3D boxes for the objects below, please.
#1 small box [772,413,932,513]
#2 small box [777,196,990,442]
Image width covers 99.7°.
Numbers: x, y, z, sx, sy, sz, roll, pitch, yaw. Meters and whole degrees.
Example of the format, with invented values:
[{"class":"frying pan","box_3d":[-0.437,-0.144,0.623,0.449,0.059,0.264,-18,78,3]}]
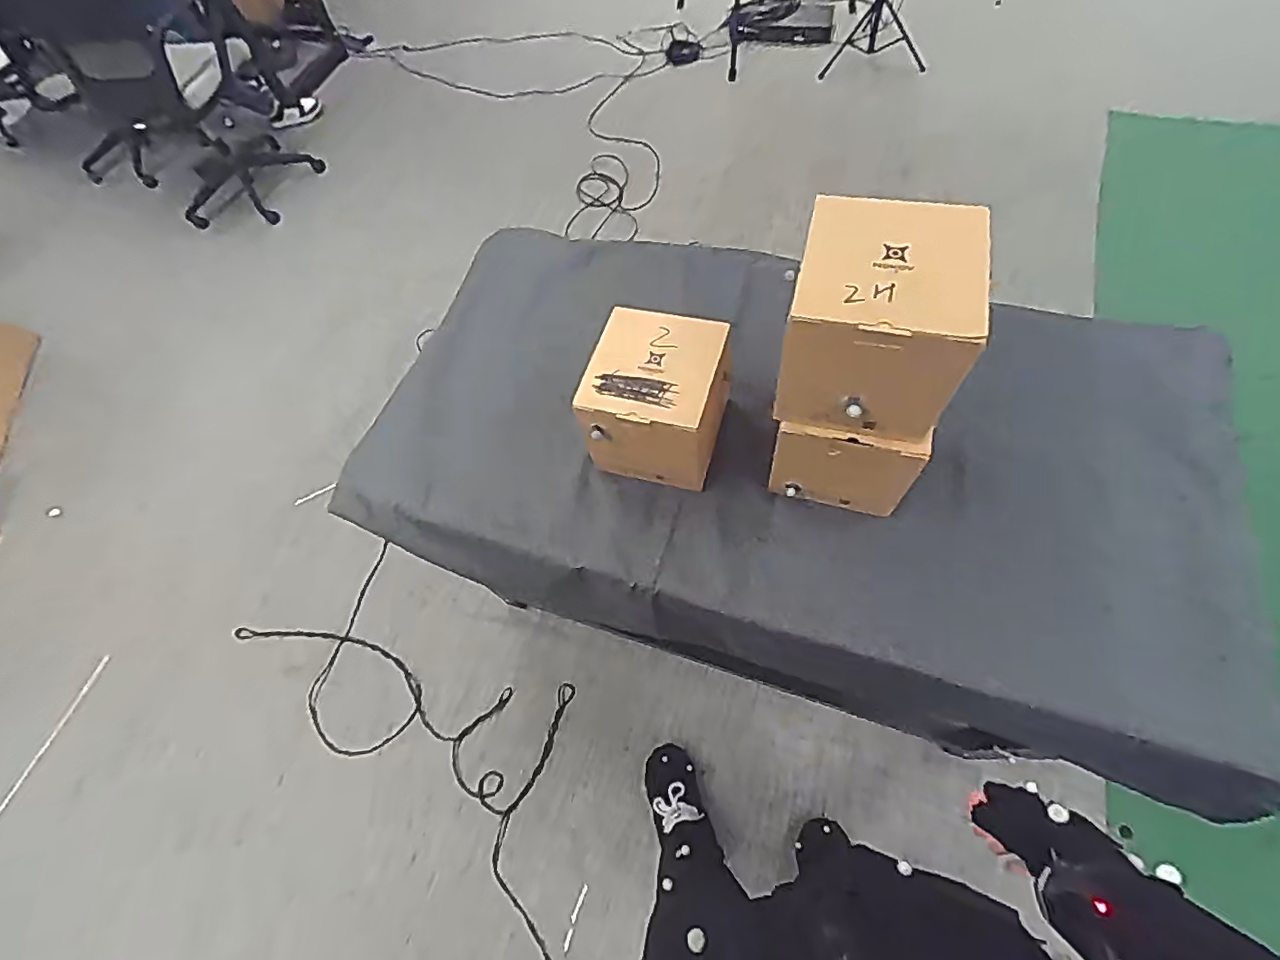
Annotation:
[{"class":"small box","box_3d":[0.274,-0.076,0.712,0.168,0.176,0.179,13,65,14]},{"class":"small box","box_3d":[0.246,-0.166,0.577,0.168,0.176,0.179,11,66,14]}]
